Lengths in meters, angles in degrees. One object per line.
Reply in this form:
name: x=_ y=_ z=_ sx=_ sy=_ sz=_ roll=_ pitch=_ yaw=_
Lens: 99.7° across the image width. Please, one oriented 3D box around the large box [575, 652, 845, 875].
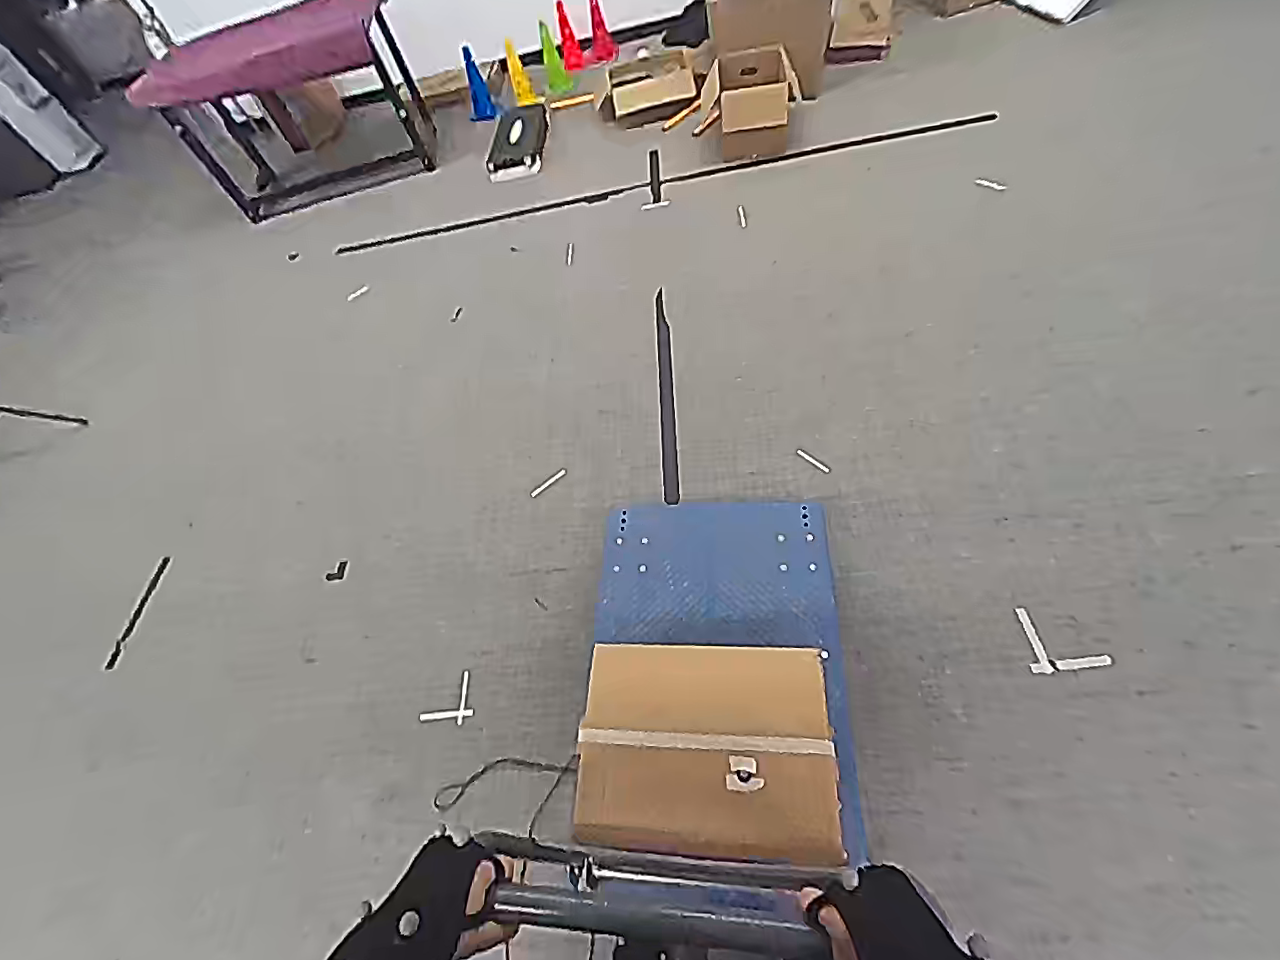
large box: x=0.125 y=0.519 z=0.993 sx=0.408 sy=0.320 sz=0.320 roll=-2 pitch=56 yaw=10
